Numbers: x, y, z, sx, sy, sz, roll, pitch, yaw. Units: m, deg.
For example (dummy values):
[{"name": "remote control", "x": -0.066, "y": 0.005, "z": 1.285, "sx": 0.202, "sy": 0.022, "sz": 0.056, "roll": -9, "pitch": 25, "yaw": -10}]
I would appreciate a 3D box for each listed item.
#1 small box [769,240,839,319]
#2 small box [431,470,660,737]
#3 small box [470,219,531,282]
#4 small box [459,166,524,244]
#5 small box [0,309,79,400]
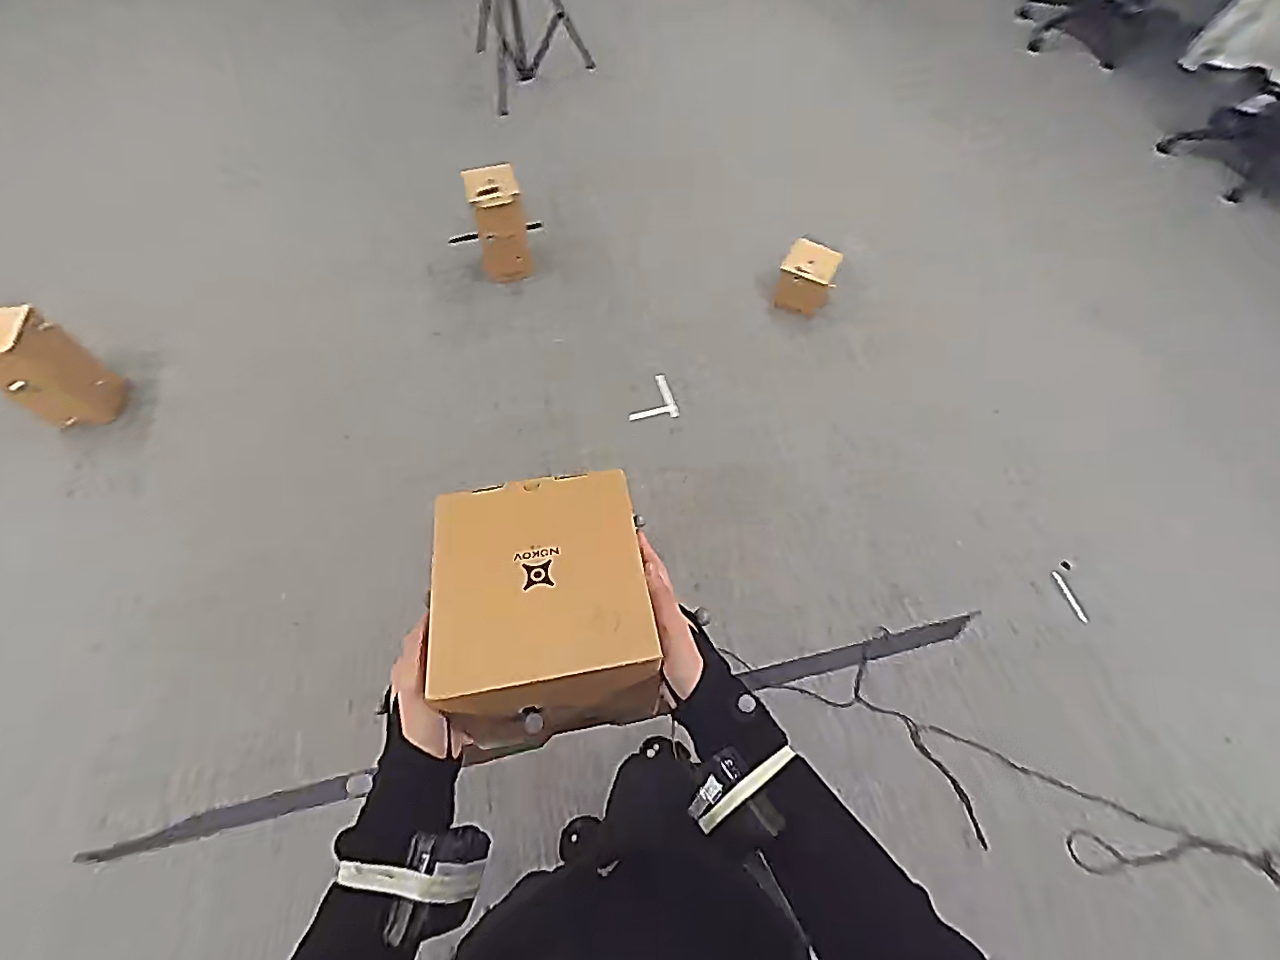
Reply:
[{"name": "small box", "x": 0.581, "y": -0.715, "z": 1.936, "sx": 0.168, "sy": 0.176, "sz": 0.179, "roll": 27, "pitch": 65, "yaw": 12}, {"name": "small box", "x": -0.076, "y": 0.118, "z": 0.489, "sx": 0.168, "sy": 0.176, "sz": 0.179, "roll": -8, "pitch": 53, "yaw": -6}, {"name": "small box", "x": -0.511, "y": -0.855, "z": 1.997, "sx": 0.168, "sy": 0.176, "sz": 0.179, "roll": -17, "pitch": 63, "yaw": -10}, {"name": "small box", "x": -0.504, "y": -0.933, "z": 1.852, "sx": 0.168, "sy": 0.176, "sz": 0.179, "roll": -16, "pitch": 63, "yaw": -9}, {"name": "small box", "x": -1.760, "y": -0.353, "z": 1.527, "sx": 0.168, "sy": 0.176, "sz": 0.179, "roll": -10, "pitch": 64, "yaw": -5}]
